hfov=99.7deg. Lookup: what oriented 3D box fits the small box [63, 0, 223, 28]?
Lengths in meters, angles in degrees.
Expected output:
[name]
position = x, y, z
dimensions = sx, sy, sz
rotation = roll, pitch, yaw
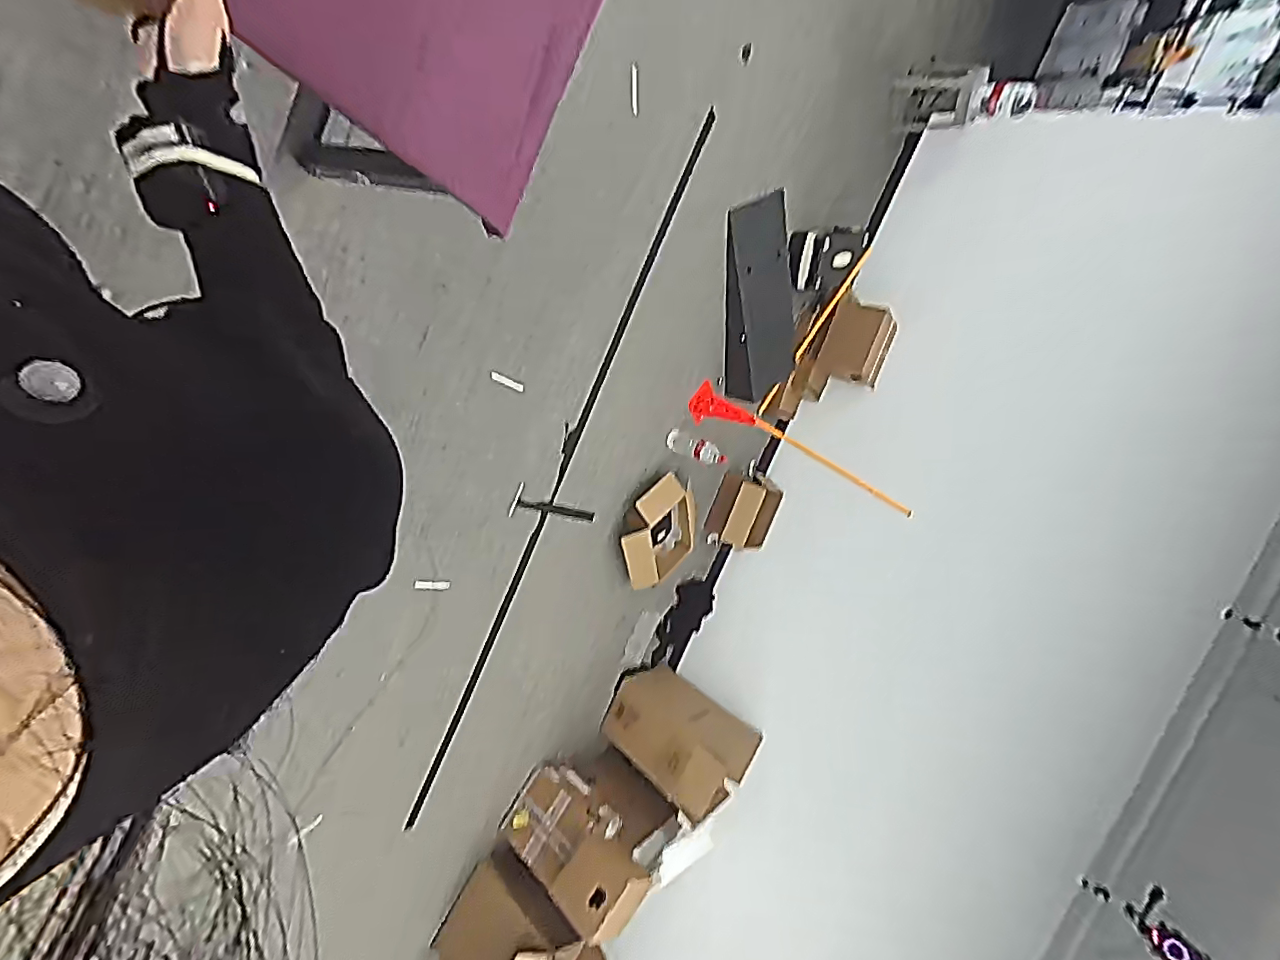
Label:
[small box]
position = -0.392, -0.465, 0.373
dimensions = 0.179, 0.176, 0.168
rotation = -68, 158, -5
